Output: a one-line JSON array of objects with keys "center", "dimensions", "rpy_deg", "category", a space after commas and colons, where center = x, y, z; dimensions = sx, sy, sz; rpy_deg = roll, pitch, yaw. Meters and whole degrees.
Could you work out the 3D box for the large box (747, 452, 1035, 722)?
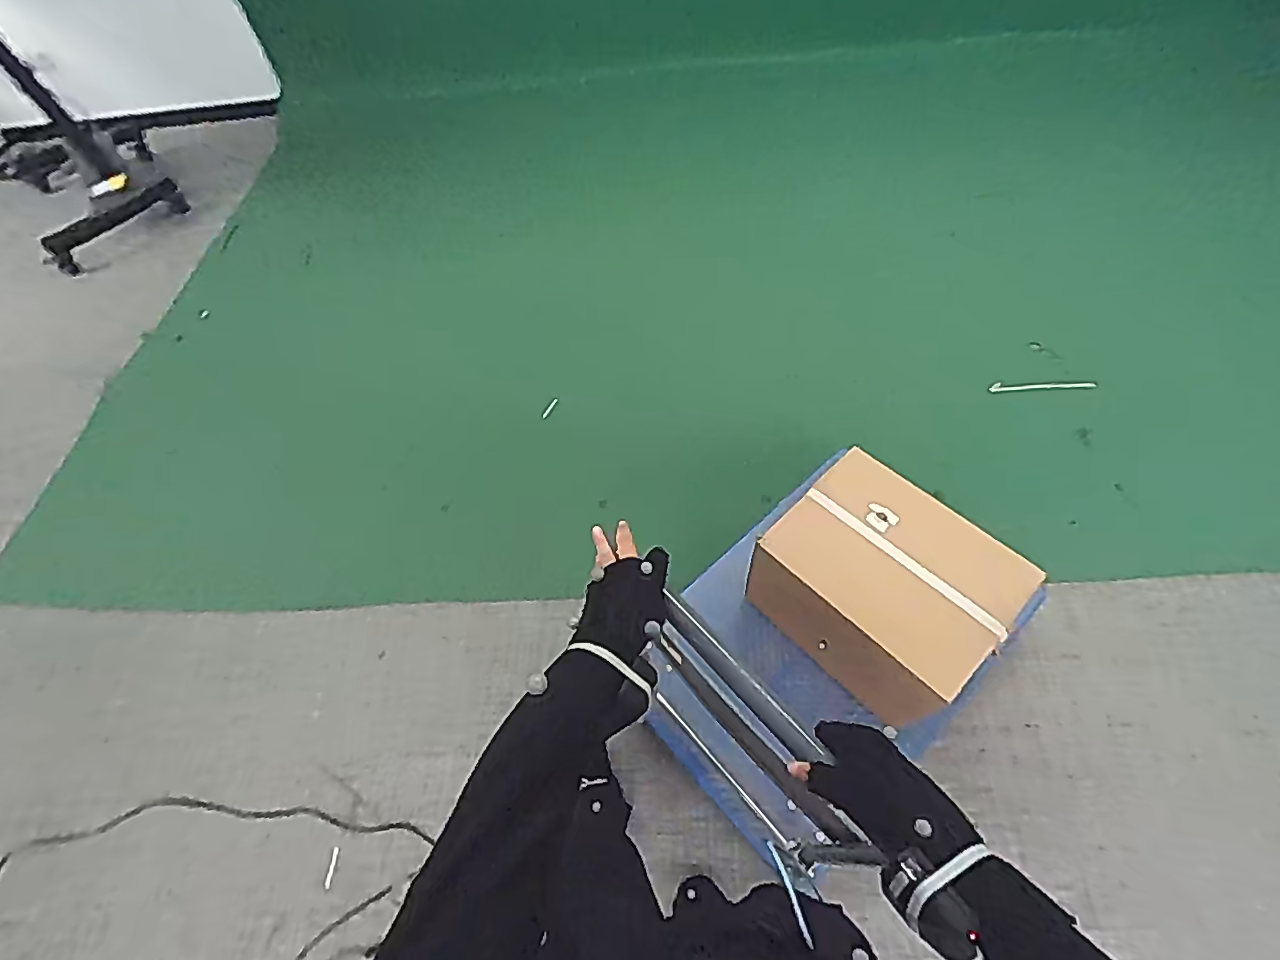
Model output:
[{"center": [0.481, 0.225, 1.131], "dimensions": [0.320, 0.320, 0.408], "rpy_deg": [-40, 62, -18], "category": "large box"}]
